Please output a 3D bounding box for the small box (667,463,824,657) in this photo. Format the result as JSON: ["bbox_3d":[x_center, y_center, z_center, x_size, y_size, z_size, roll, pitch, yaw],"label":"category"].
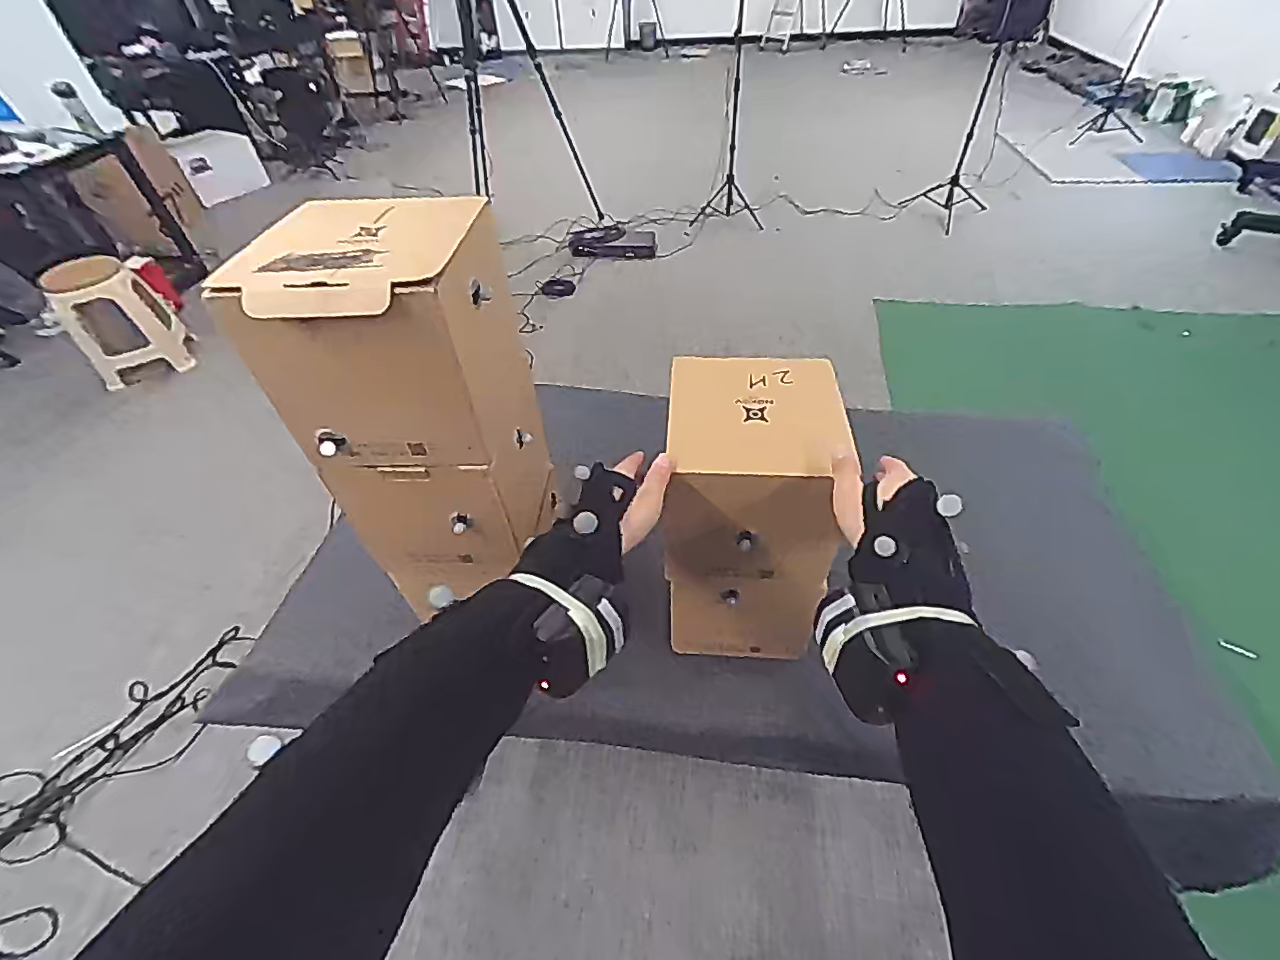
[{"bbox_3d":[0.122,0.101,0.688,0.168,0.176,0.179,2,46,5],"label":"small box"}]

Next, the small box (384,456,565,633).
[{"bbox_3d":[-0.200,0.087,0.716,0.168,0.176,0.179,1,46,4],"label":"small box"}]

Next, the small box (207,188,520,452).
[{"bbox_3d":[-0.211,-0.138,0.479,0.168,0.176,0.179,0,46,1],"label":"small box"}]

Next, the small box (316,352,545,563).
[{"bbox_3d":[-0.207,-0.023,0.597,0.168,0.176,0.179,1,45,2],"label":"small box"}]
